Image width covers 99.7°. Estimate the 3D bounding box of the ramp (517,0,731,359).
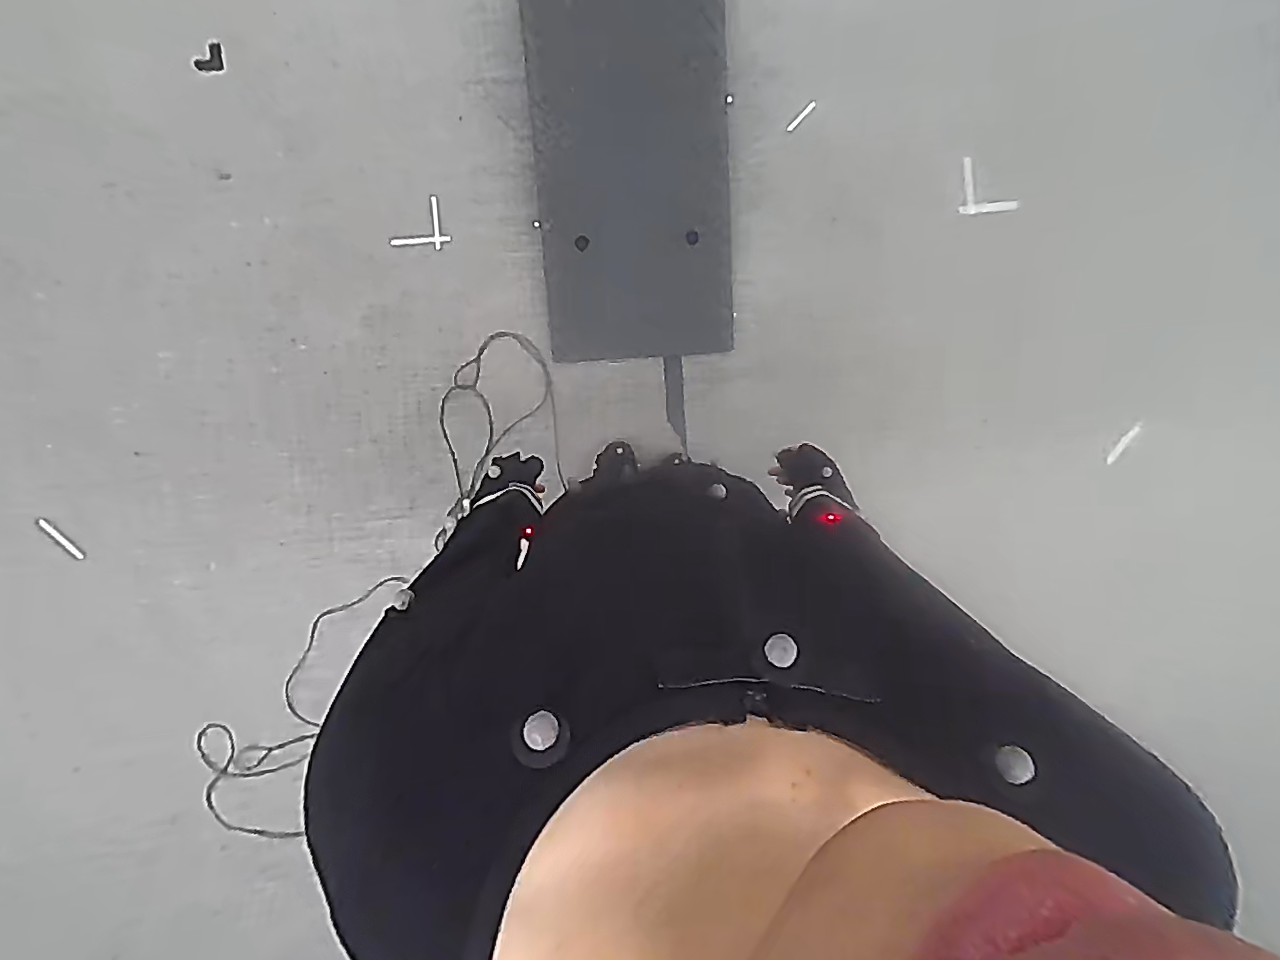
[{"bbox_3d":[-0.023,-0.828,1.348,0.509,0.206,0.991,-7,94,-5],"label":"ramp"}]
